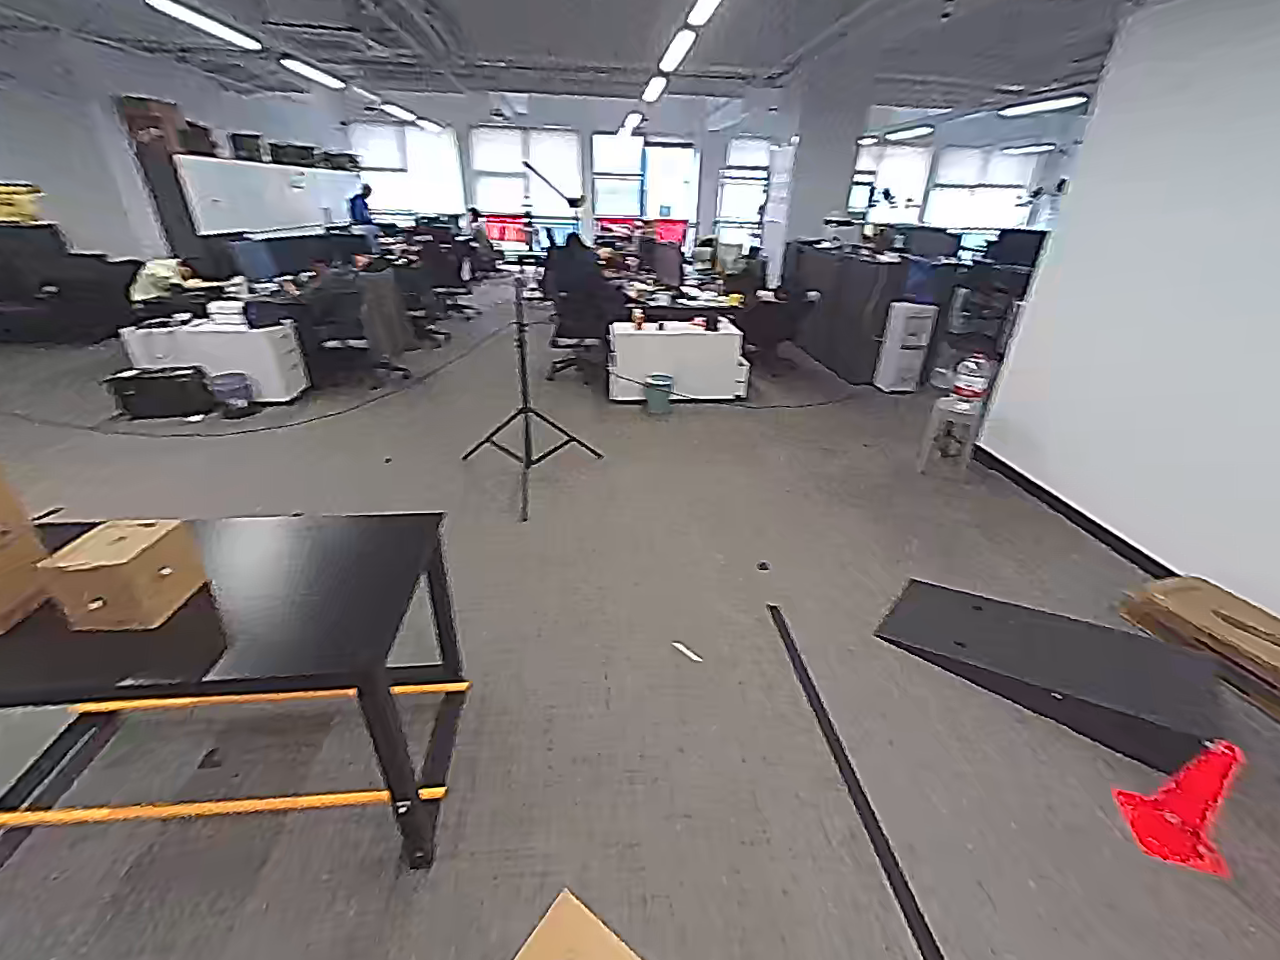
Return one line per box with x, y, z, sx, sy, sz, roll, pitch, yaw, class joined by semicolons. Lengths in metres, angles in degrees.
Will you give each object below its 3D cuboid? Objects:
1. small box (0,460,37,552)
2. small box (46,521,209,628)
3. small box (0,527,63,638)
-1.392;0.072;1.071;0.179;0.176;0.168;-2;27;-6;small box
-1.099;0.206;1.182;0.168;0.176;0.179;0;28;-4;small box
-1.395;0.217;1.149;0.168;0.176;0.179;-2;28;-5;small box
